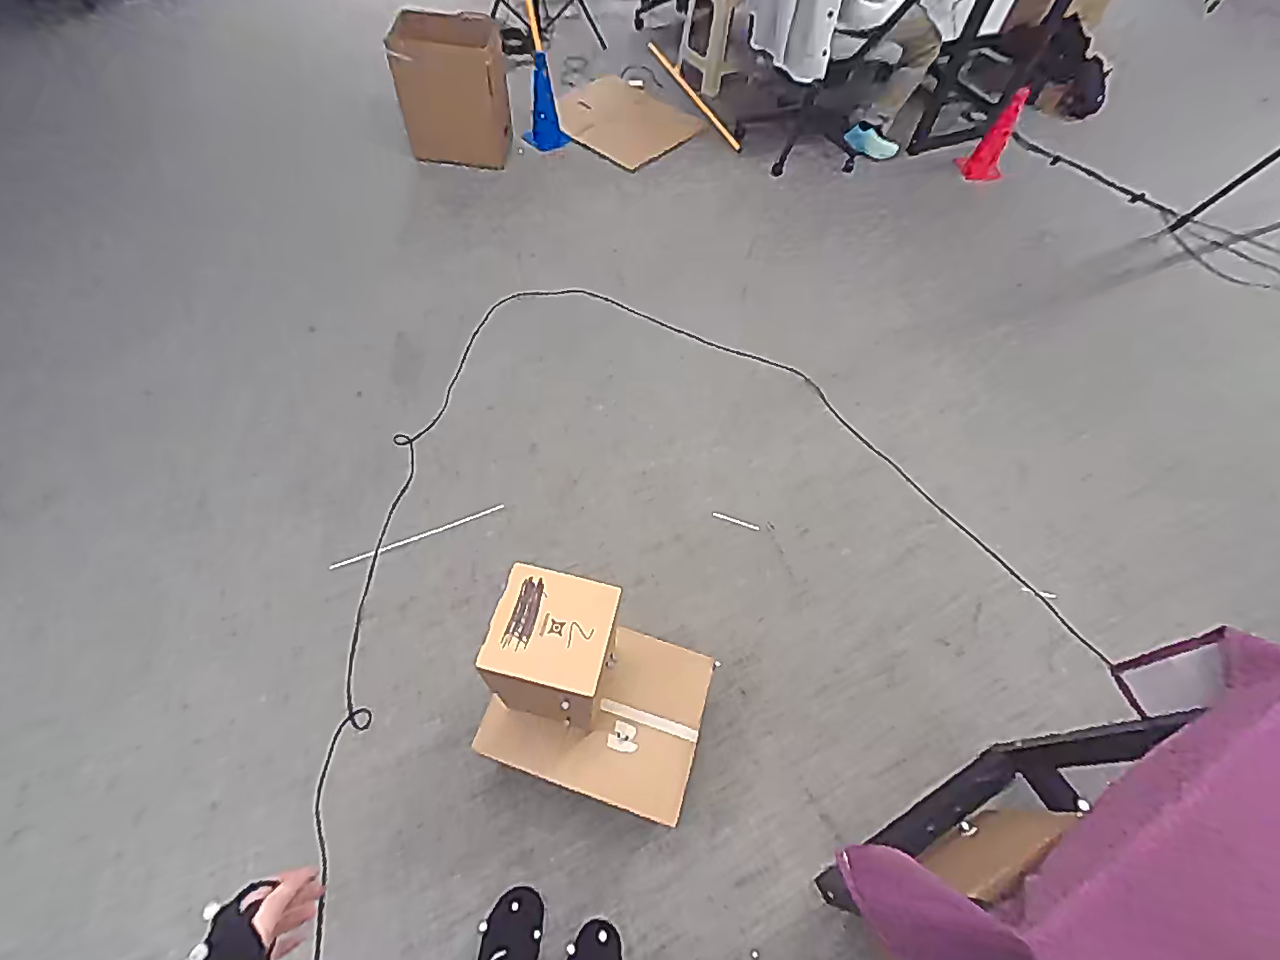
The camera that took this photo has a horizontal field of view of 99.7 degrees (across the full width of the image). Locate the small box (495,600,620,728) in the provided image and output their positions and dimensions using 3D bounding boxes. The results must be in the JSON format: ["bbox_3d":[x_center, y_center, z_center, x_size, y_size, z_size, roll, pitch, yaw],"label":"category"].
[{"bbox_3d":[-0.143,0.345,0.997,0.179,0.176,0.168,14,58,5],"label":"small box"}]

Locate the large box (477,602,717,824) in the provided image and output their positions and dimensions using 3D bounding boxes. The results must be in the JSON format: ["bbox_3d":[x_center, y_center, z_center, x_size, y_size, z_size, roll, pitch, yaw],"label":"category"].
[{"bbox_3d":[-0.084,0.513,1.186,0.408,0.320,0.320,17,60,6],"label":"large box"}]
